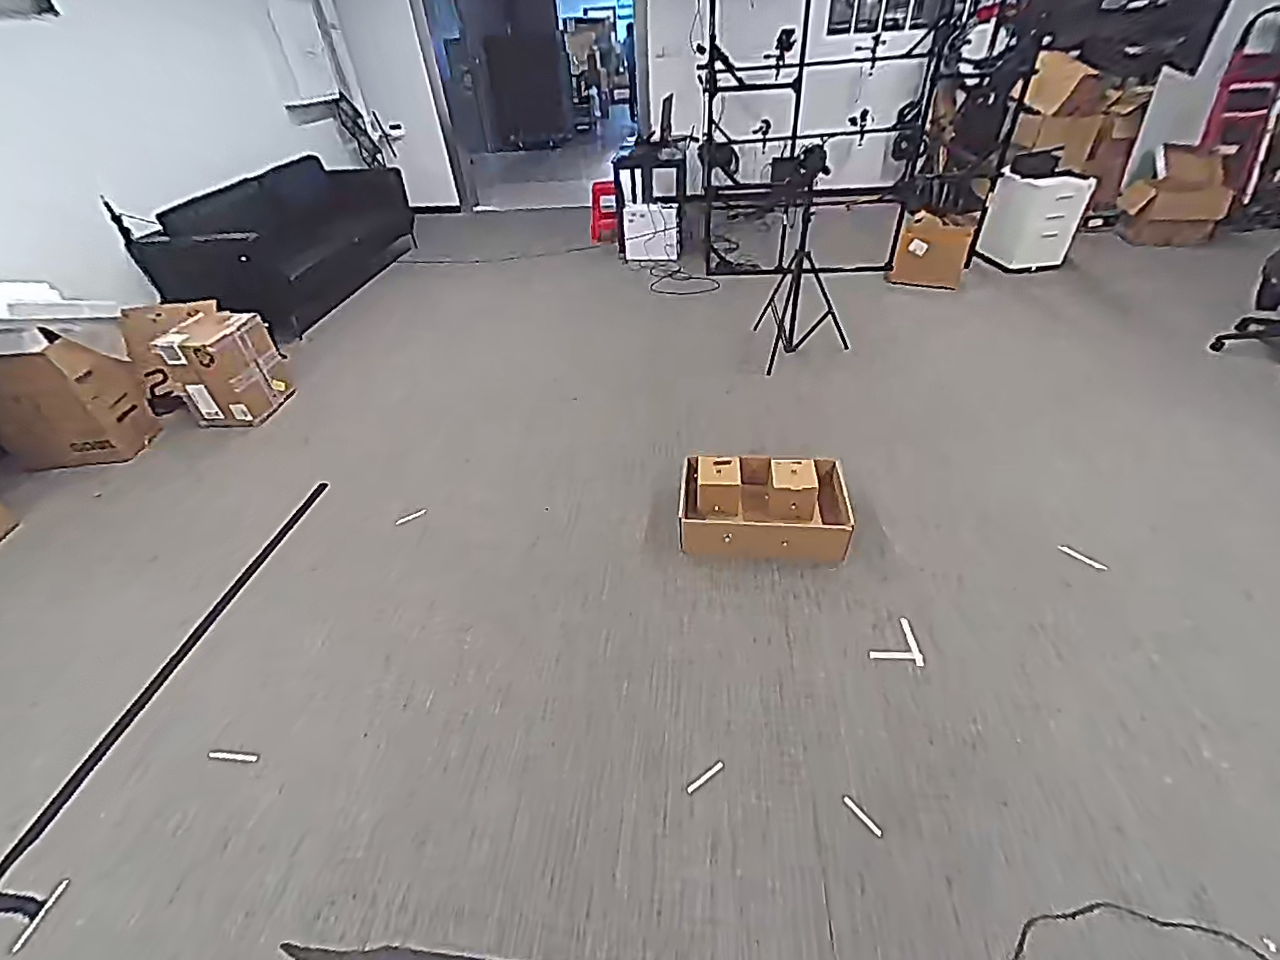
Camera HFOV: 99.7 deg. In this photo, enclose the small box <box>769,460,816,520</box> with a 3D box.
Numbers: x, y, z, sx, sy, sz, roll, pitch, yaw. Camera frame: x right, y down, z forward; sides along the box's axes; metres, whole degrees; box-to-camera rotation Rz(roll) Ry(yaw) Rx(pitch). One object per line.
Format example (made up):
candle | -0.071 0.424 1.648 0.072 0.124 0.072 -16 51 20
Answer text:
small box | 0.596 0.041 2.125 0.168 0.176 0.179 0 41 11
